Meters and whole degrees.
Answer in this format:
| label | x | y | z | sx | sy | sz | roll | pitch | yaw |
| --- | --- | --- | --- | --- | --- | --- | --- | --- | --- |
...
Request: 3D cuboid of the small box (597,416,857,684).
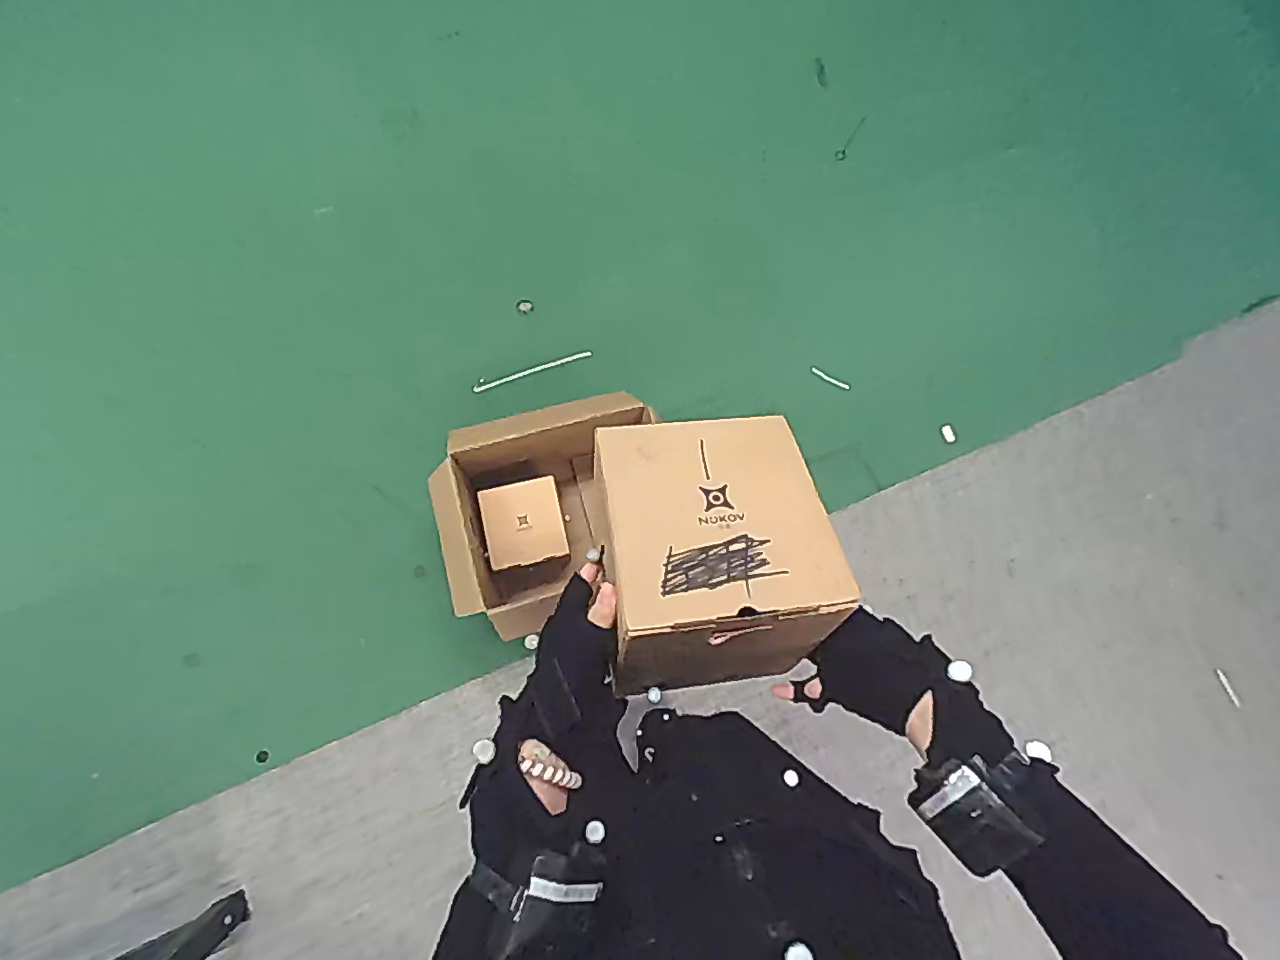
| label | x | y | z | sx | sy | sz | roll | pitch | yaw |
| --- | --- | --- | --- | --- | --- | --- | --- | --- | --- |
| small box | 0.053 | 0.067 | 0.472 | 0.168 | 0.176 | 0.179 | -5 | 55 | -10 |
